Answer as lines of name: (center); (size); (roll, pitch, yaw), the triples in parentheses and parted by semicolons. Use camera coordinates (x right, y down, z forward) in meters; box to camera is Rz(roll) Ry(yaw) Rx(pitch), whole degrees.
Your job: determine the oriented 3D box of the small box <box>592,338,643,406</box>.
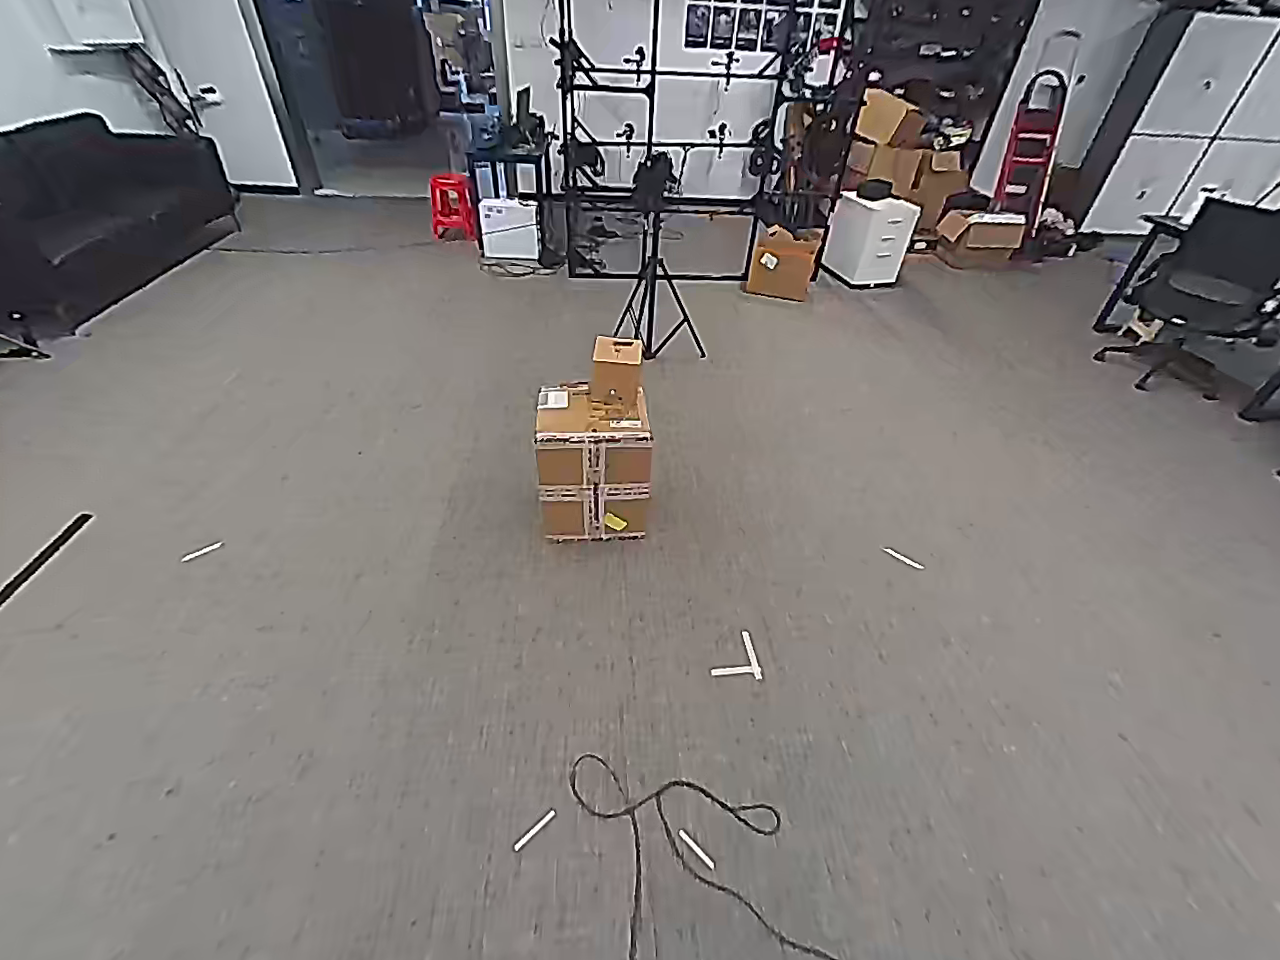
small box: (-0.083, -0.389, 1.944); (0.168, 0.176, 0.179); (5, 42, -2)
